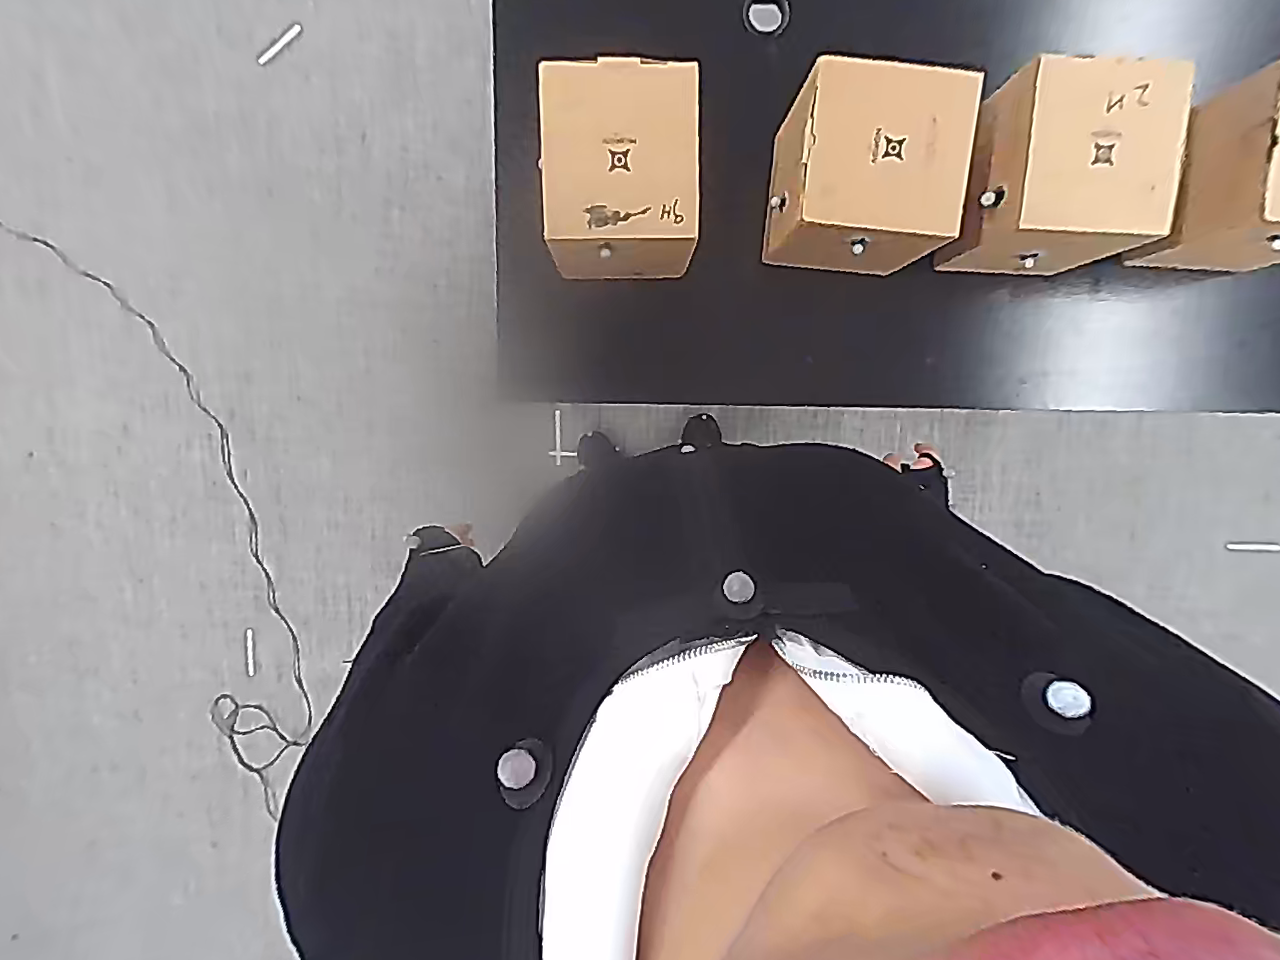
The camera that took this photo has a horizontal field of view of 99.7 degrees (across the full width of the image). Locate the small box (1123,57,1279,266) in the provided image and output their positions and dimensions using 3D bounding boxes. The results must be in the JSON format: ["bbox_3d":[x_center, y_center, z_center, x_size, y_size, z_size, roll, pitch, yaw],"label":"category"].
[{"bbox_3d":[0.749,-0.370,0.657,0.179,0.176,0.168,3,97,-2],"label":"small box"}]

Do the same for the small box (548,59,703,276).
[{"bbox_3d":[-0.018,-0.359,0.651,0.168,0.176,0.179,0,97,0],"label":"small box"}]

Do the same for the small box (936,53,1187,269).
[{"bbox_3d":[0.487,-0.366,0.655,0.168,0.176,0.179,3,97,-1],"label":"small box"}]
